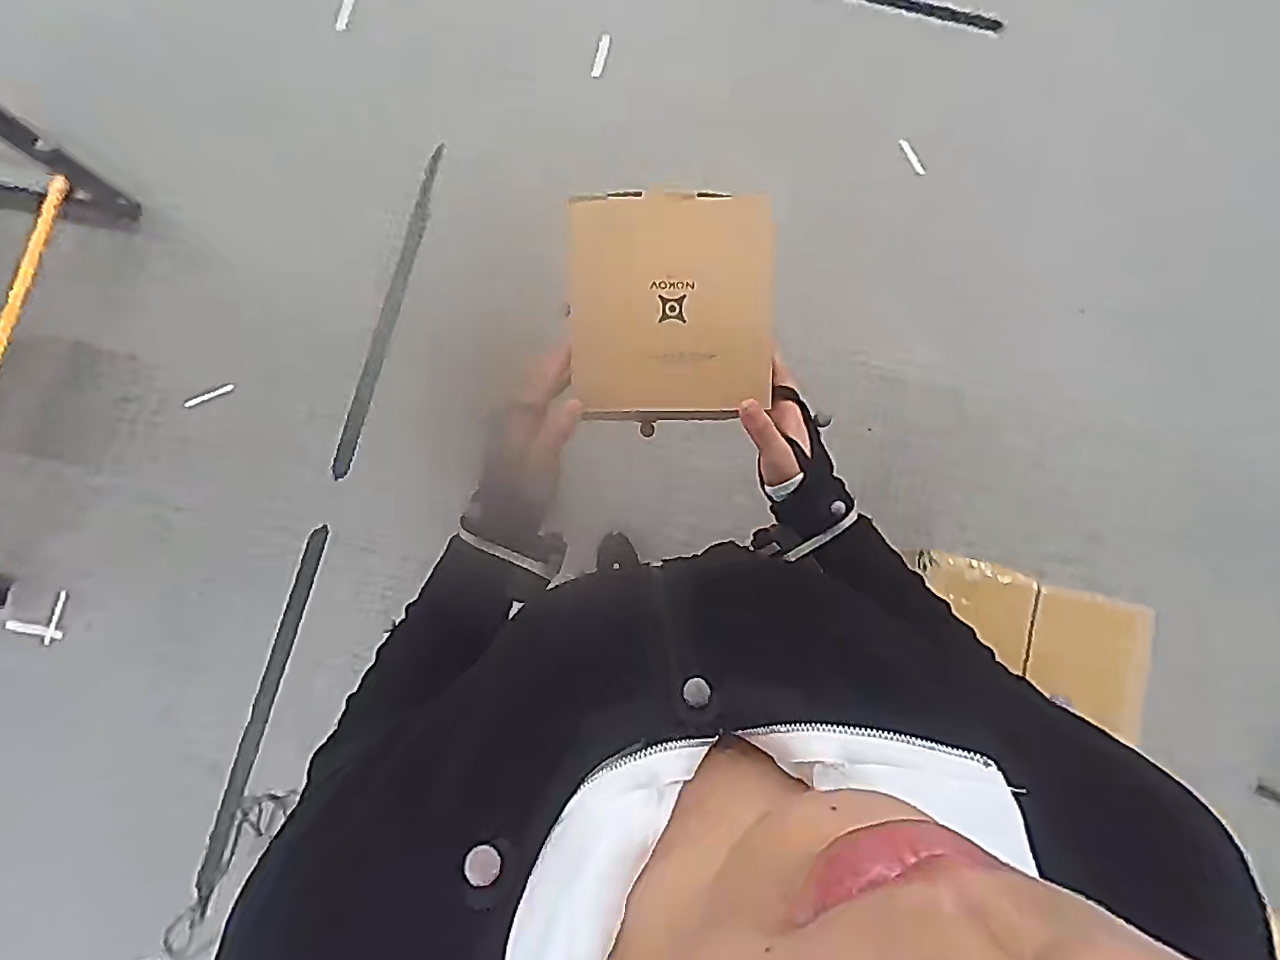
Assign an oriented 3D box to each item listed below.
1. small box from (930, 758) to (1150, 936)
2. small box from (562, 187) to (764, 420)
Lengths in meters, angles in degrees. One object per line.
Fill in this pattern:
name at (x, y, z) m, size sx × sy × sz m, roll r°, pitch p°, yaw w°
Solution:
small box at (0.552, 0.521, 0.765) m, size 0.179 × 0.176 × 0.168 m, roll 14°, pitch 81°, yaw 1°
small box at (0.015, -0.152, 0.517) m, size 0.168 × 0.176 × 0.179 m, roll -2°, pitch 93°, yaw -3°
